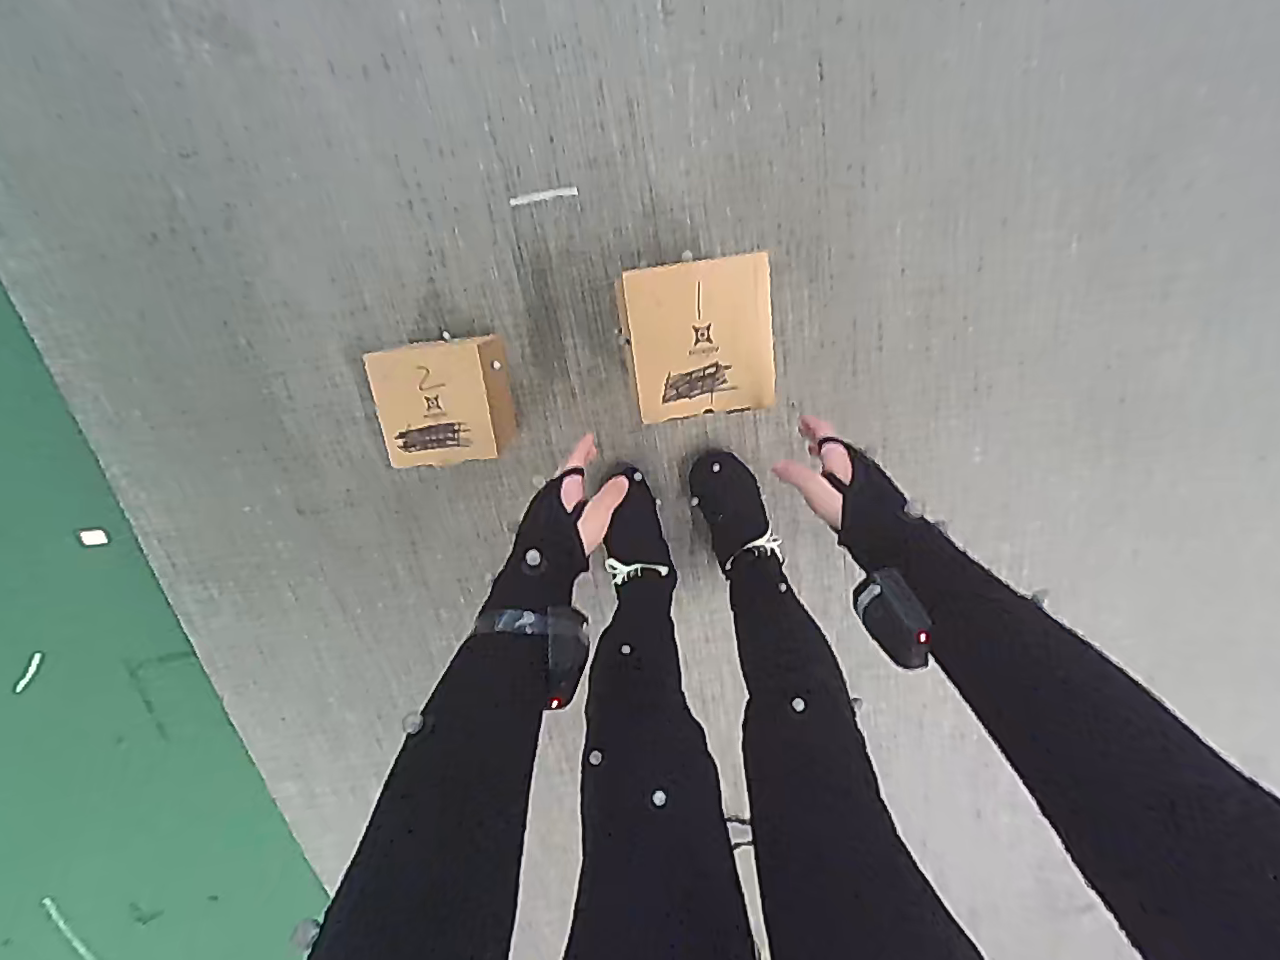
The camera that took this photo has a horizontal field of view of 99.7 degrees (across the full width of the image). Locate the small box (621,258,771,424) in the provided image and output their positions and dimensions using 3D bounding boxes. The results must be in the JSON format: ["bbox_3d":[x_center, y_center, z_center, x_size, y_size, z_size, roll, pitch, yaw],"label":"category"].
[{"bbox_3d":[0.068,-0.185,0.709,0.168,0.176,0.179,-8,108,0],"label":"small box"}]
